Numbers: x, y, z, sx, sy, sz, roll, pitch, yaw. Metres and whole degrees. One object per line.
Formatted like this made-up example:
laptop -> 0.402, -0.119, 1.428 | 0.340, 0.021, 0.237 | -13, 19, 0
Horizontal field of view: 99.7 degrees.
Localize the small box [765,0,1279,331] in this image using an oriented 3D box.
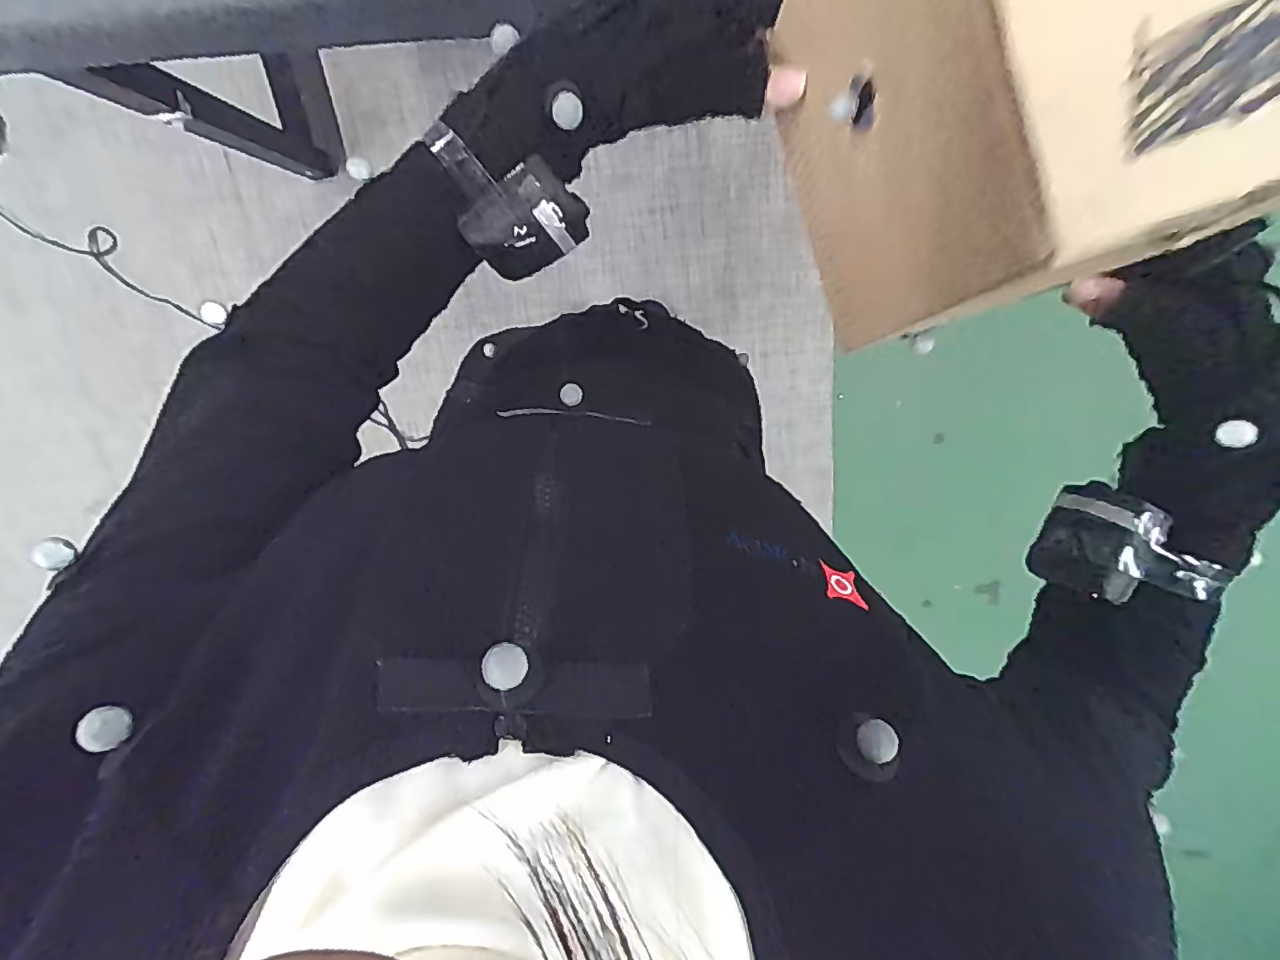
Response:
small box -> 0.173, -0.179, 0.244 | 0.168, 0.176, 0.179 | -17, 93, 0
